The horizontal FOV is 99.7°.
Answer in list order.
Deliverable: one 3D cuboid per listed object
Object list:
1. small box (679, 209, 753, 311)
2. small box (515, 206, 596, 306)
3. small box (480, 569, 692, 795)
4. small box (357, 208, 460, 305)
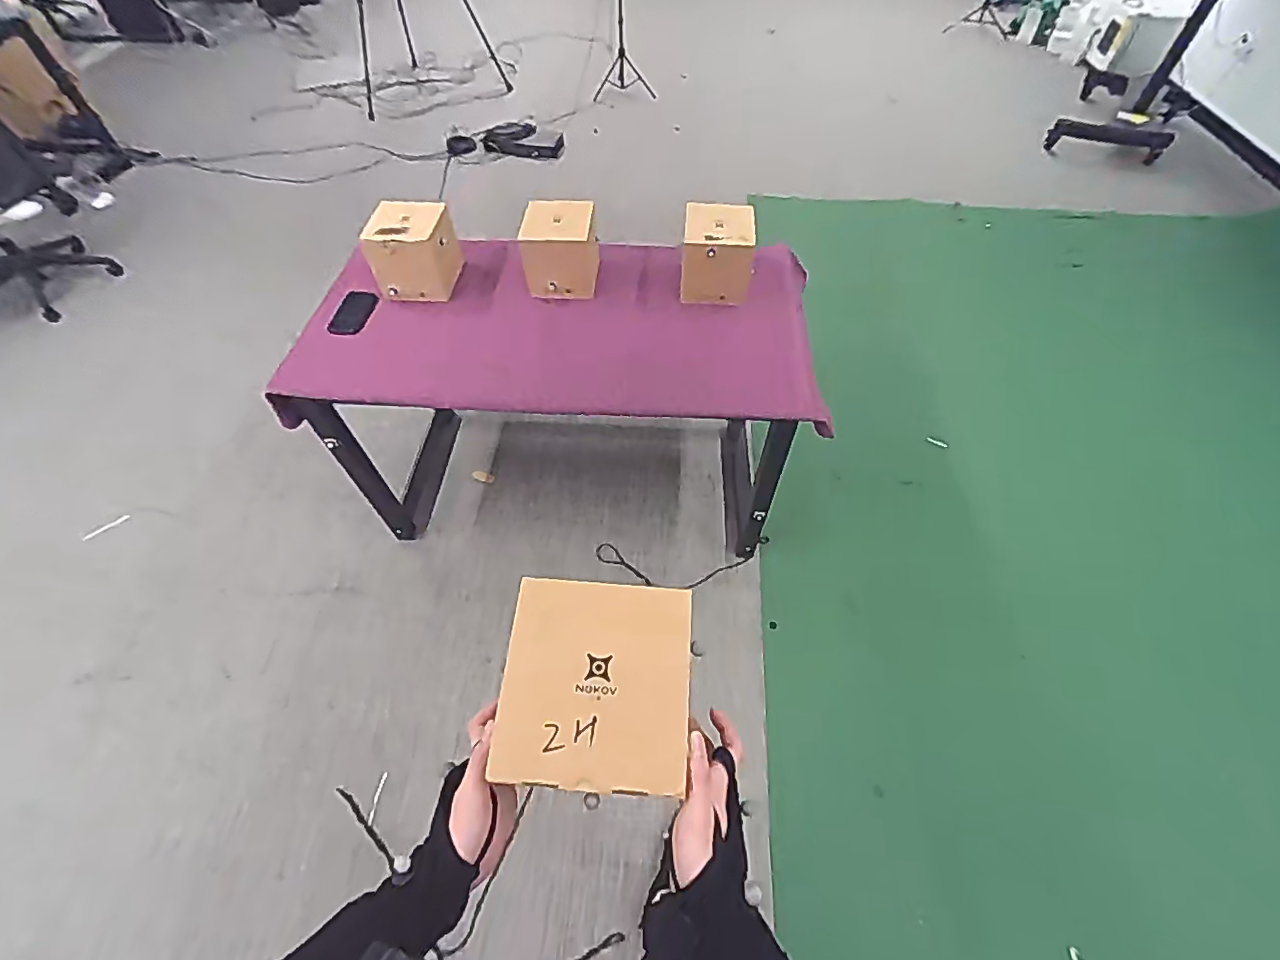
[{"bbox_3d":[0.184,-0.546,1.345,0.168,0.176,0.179,3,54,4],"label":"small box"},{"bbox_3d":[-0.204,-0.565,1.364,0.168,0.176,0.179,2,55,3],"label":"small box"},{"bbox_3d":[-0.041,0.205,0.538,0.168,0.176,0.179,4,60,3],"label":"small box"},{"bbox_3d":[-0.570,-0.560,1.362,0.168,0.176,0.179,3,54,2],"label":"small box"}]
